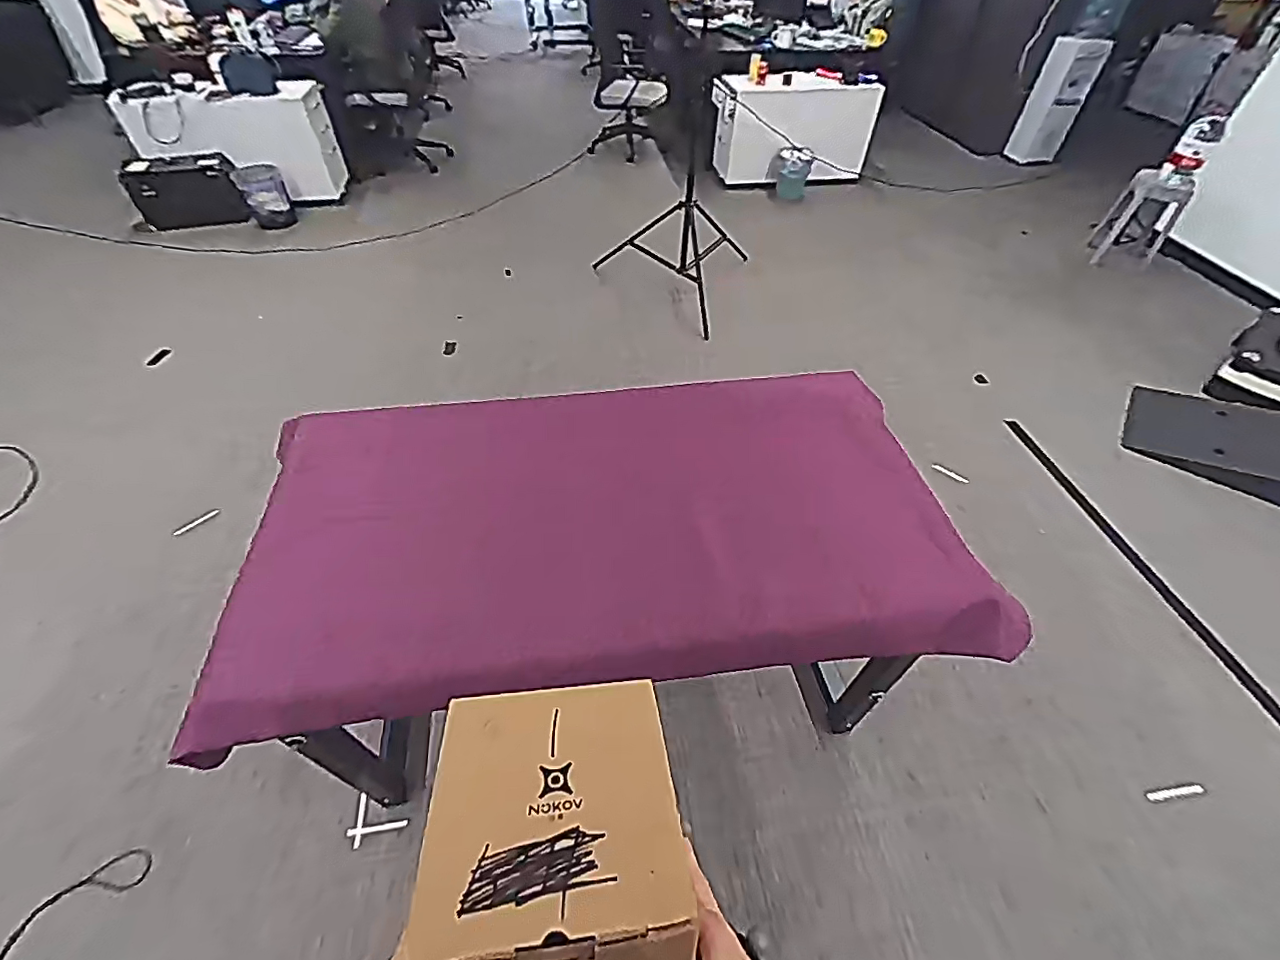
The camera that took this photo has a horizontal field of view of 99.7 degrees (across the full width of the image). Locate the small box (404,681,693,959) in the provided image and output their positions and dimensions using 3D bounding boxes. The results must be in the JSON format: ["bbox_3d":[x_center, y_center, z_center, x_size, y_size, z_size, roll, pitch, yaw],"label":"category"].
[{"bbox_3d":[-0.059,0.286,0.411,0.168,0.176,0.179,-3,28,-7],"label":"small box"}]
